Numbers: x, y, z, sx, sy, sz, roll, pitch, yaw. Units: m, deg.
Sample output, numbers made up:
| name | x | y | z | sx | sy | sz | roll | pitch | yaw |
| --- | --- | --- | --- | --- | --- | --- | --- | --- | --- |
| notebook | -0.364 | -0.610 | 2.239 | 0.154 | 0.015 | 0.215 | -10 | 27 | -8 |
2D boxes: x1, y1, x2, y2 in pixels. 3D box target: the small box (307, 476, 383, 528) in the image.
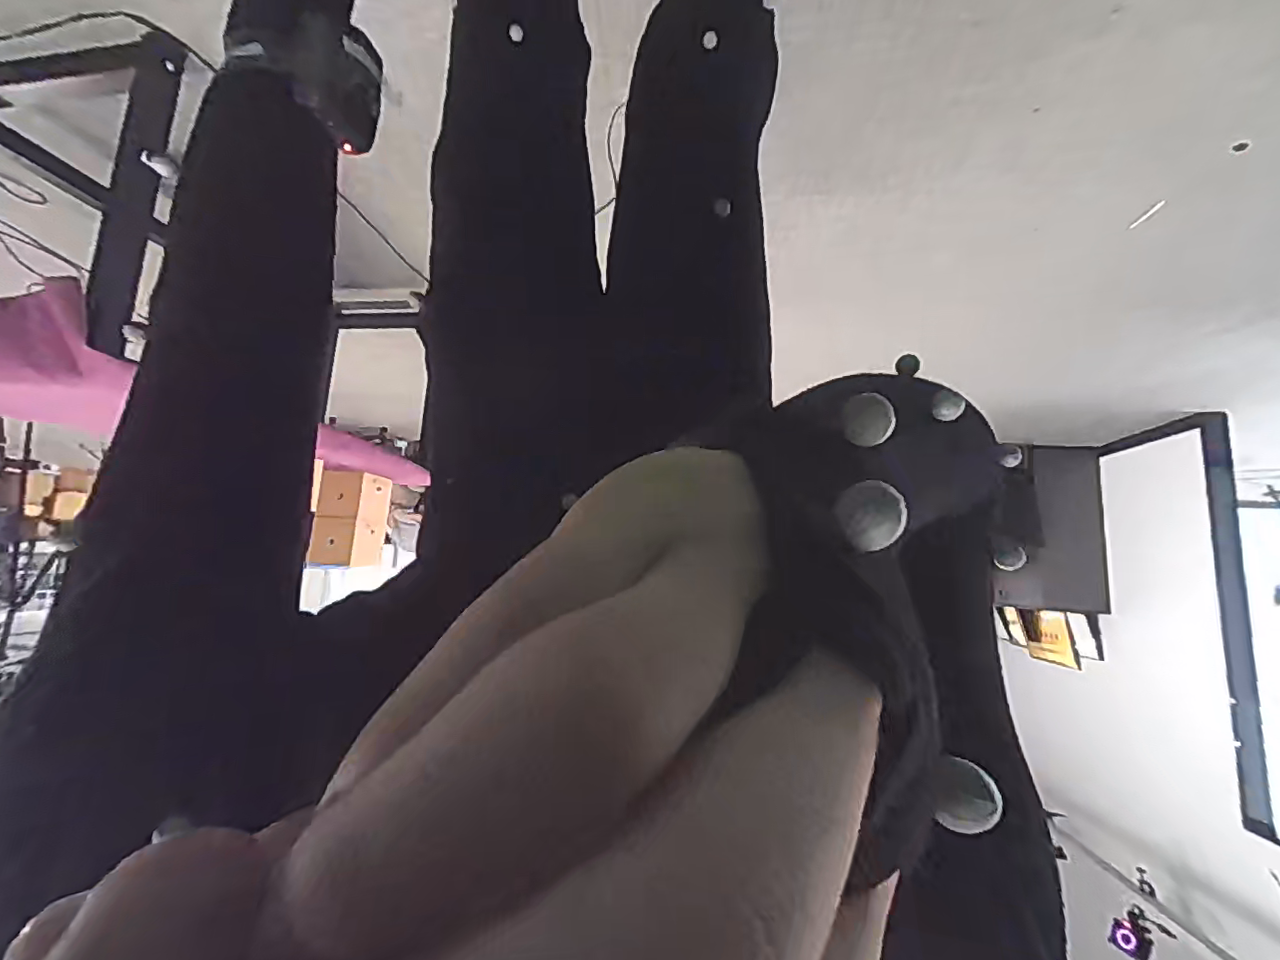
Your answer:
| name | x | y | z | sx | sy | sz | roll | pitch | yaw |
| --- | --- | --- | --- | --- | --- | --- | --- | --- | --- |
| small box | -1.058 | 0.081 | 1.952 | 0.179 | 0.176 | 0.168 | 1 | 170 | 10 |
